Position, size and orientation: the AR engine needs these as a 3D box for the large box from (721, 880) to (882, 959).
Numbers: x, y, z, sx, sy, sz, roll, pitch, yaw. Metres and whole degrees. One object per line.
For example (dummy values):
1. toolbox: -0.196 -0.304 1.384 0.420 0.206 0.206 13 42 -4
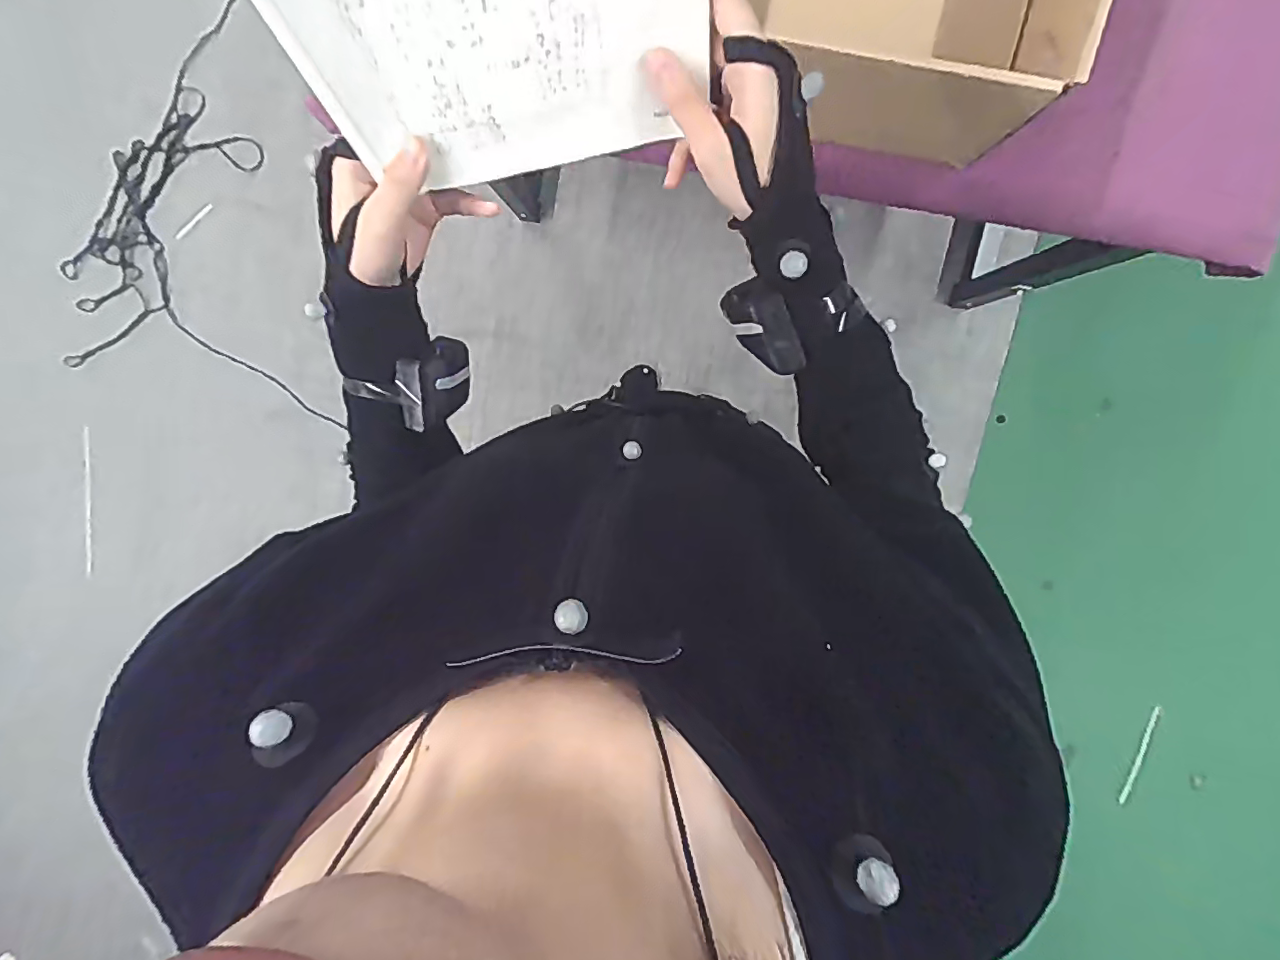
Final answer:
1. large box: 0.454 1.410 1.539 0.408 0.320 0.320 -4 99 3
